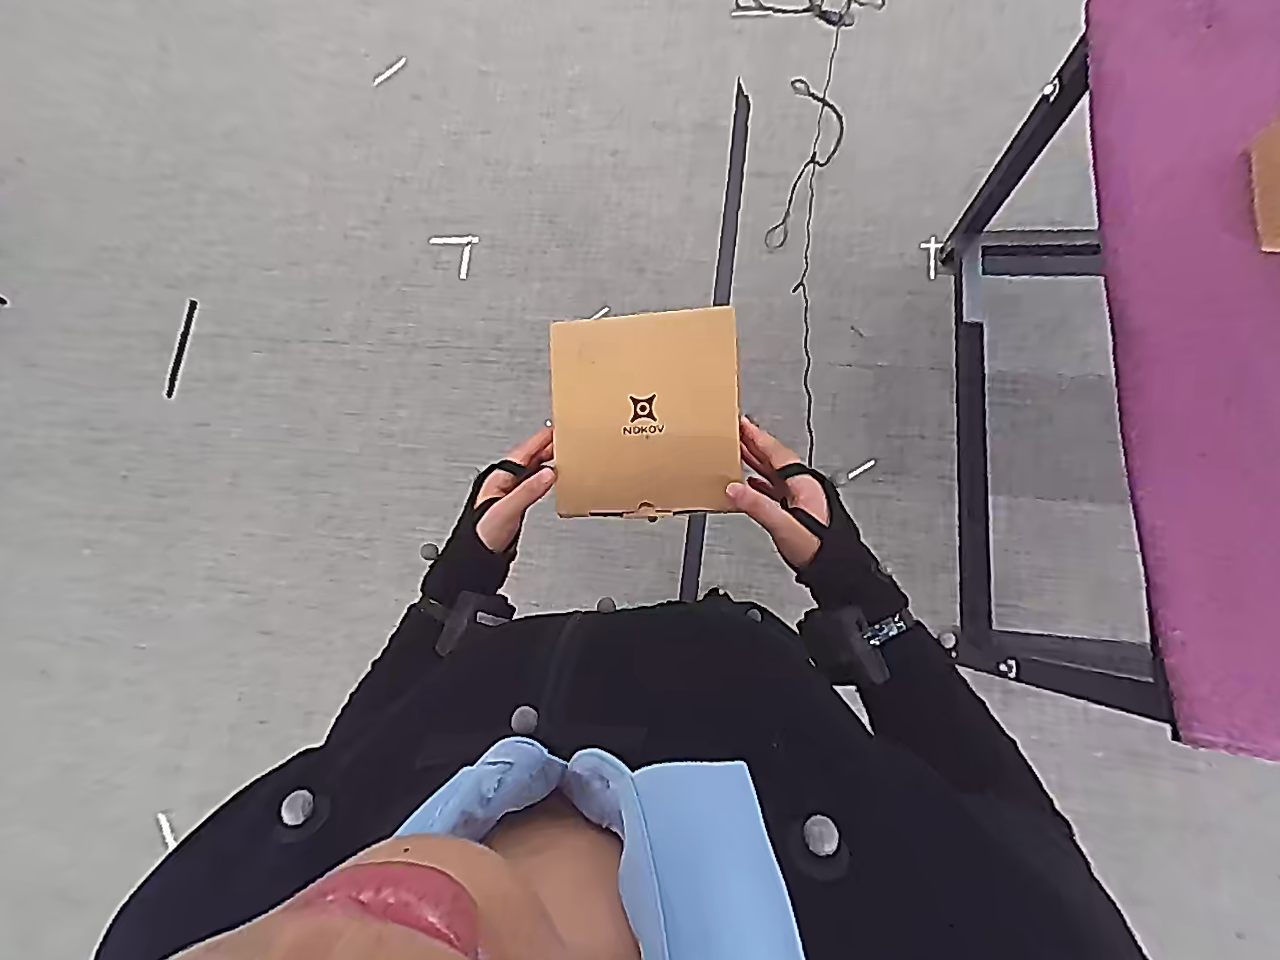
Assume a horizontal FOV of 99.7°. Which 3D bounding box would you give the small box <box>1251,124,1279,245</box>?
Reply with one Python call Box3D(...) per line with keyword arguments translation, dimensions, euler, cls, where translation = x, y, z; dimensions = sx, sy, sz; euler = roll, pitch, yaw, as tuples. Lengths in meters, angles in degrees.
Box3D(translation=(0.961, -0.417, 0.697), dimensions=(0.168, 0.176, 0.179), euler=(6, 79, 8), cls="small box")
